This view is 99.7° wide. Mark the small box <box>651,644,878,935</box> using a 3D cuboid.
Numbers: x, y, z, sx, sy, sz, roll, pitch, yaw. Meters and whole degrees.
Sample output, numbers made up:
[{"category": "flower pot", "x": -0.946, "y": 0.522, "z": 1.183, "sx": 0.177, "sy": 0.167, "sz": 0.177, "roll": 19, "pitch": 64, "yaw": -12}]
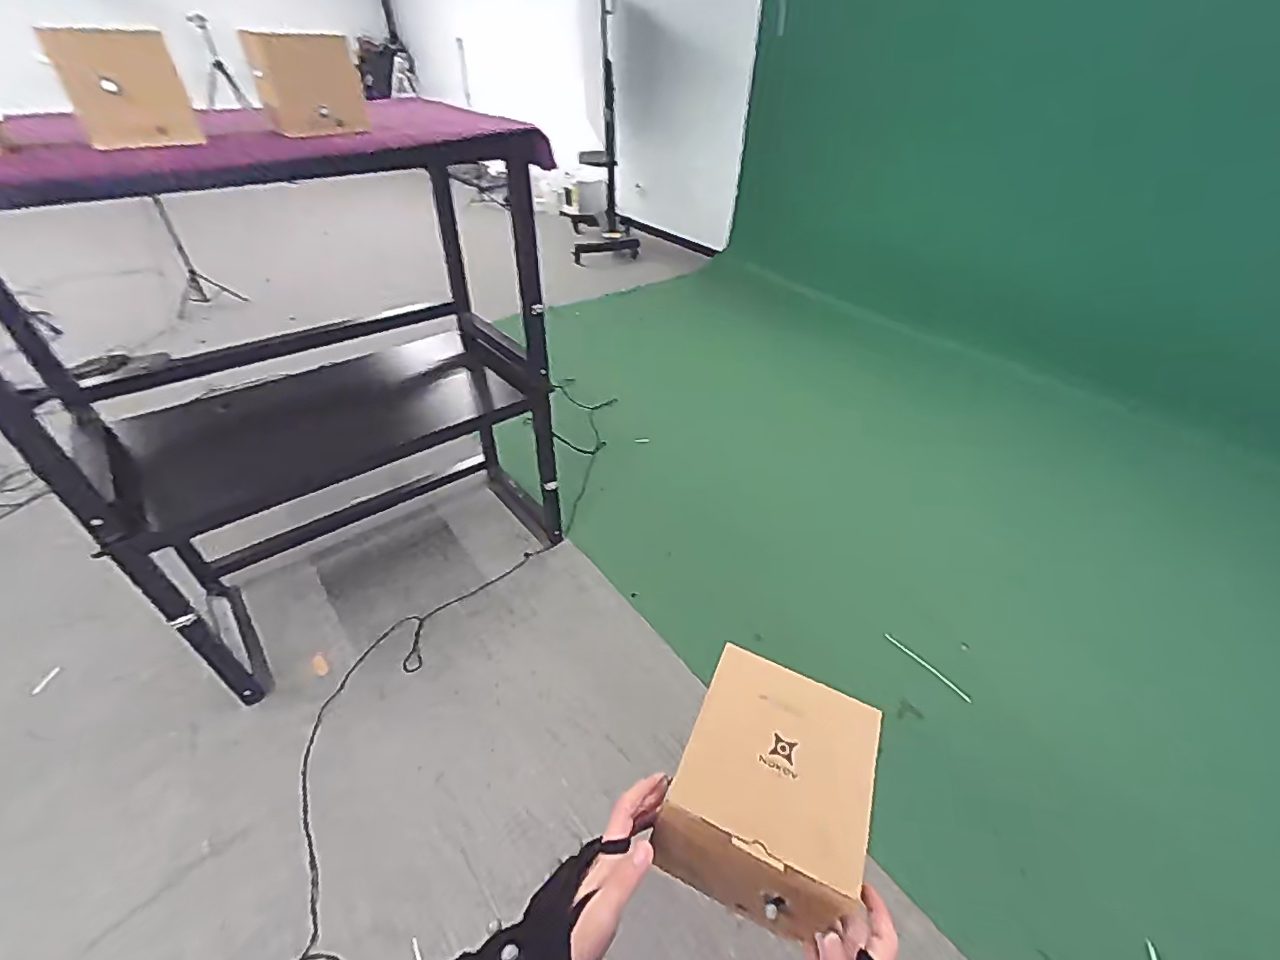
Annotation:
[{"category": "small box", "x": 0.119, "y": 0.311, "z": 0.547, "sx": 0.168, "sy": 0.176, "sz": 0.179, "roll": 21, "pitch": 42, "yaw": 14}]

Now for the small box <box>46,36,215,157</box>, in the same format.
[{"category": "small box", "x": -0.907, "y": -0.690, "z": 0.976, "sx": 0.168, "sy": 0.176, "sz": 0.179, "roll": -26, "pitch": 45, "yaw": -30}]

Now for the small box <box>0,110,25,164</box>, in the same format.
[{"category": "small box", "x": -1.130, "y": -0.587, "z": 0.836, "sx": 0.179, "sy": 0.176, "sz": 0.168, "roll": -25, "pitch": 46, "yaw": -31}]
